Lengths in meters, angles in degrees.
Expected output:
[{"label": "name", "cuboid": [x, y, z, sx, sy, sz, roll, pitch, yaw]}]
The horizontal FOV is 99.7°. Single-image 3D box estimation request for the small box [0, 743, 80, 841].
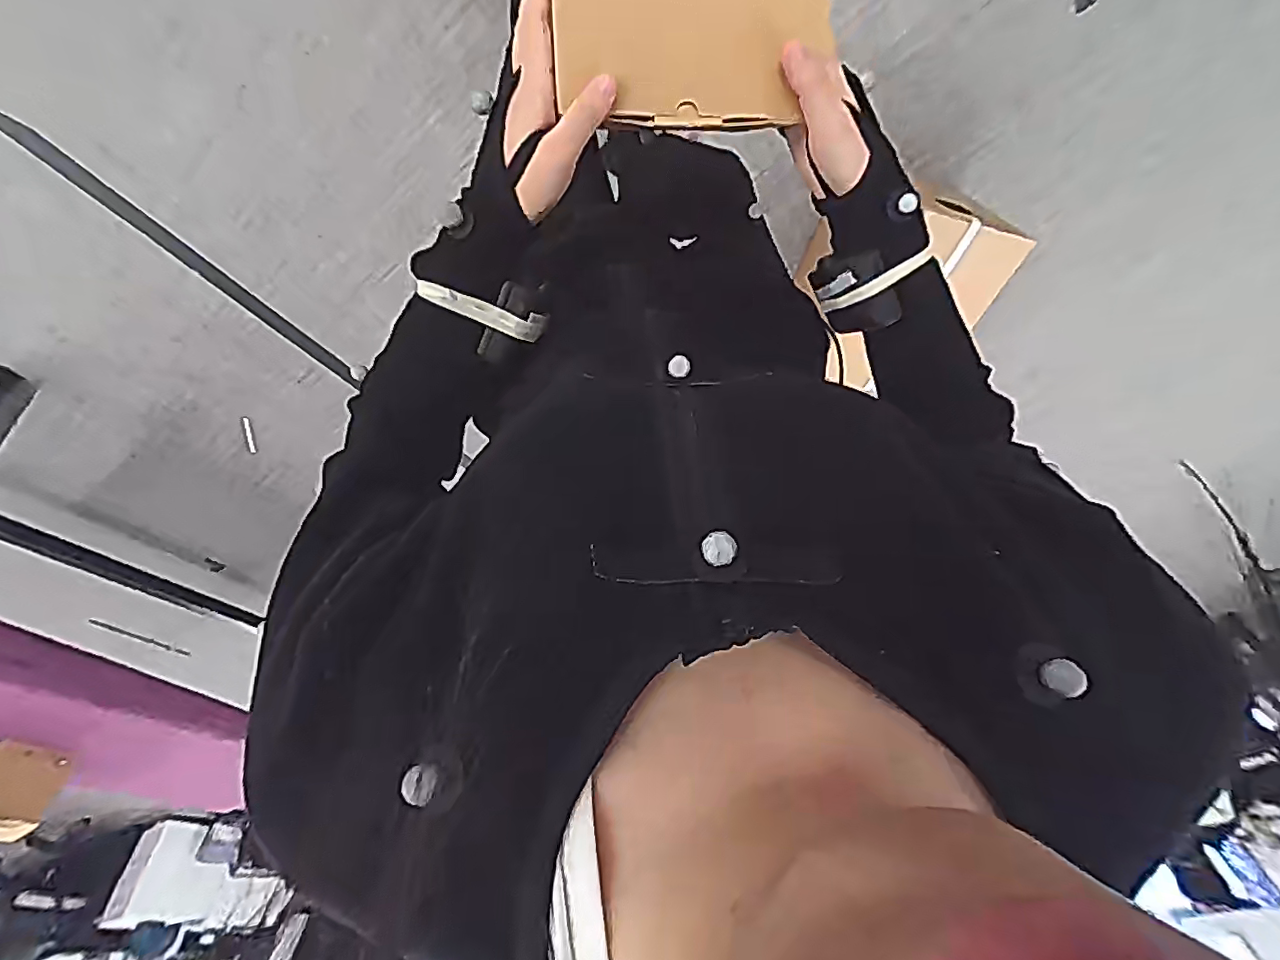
[{"label": "small box", "cuboid": [-1.583, 0.783, 1.361, 0.179, 0.176, 0.168, -30, 130, 21]}]
